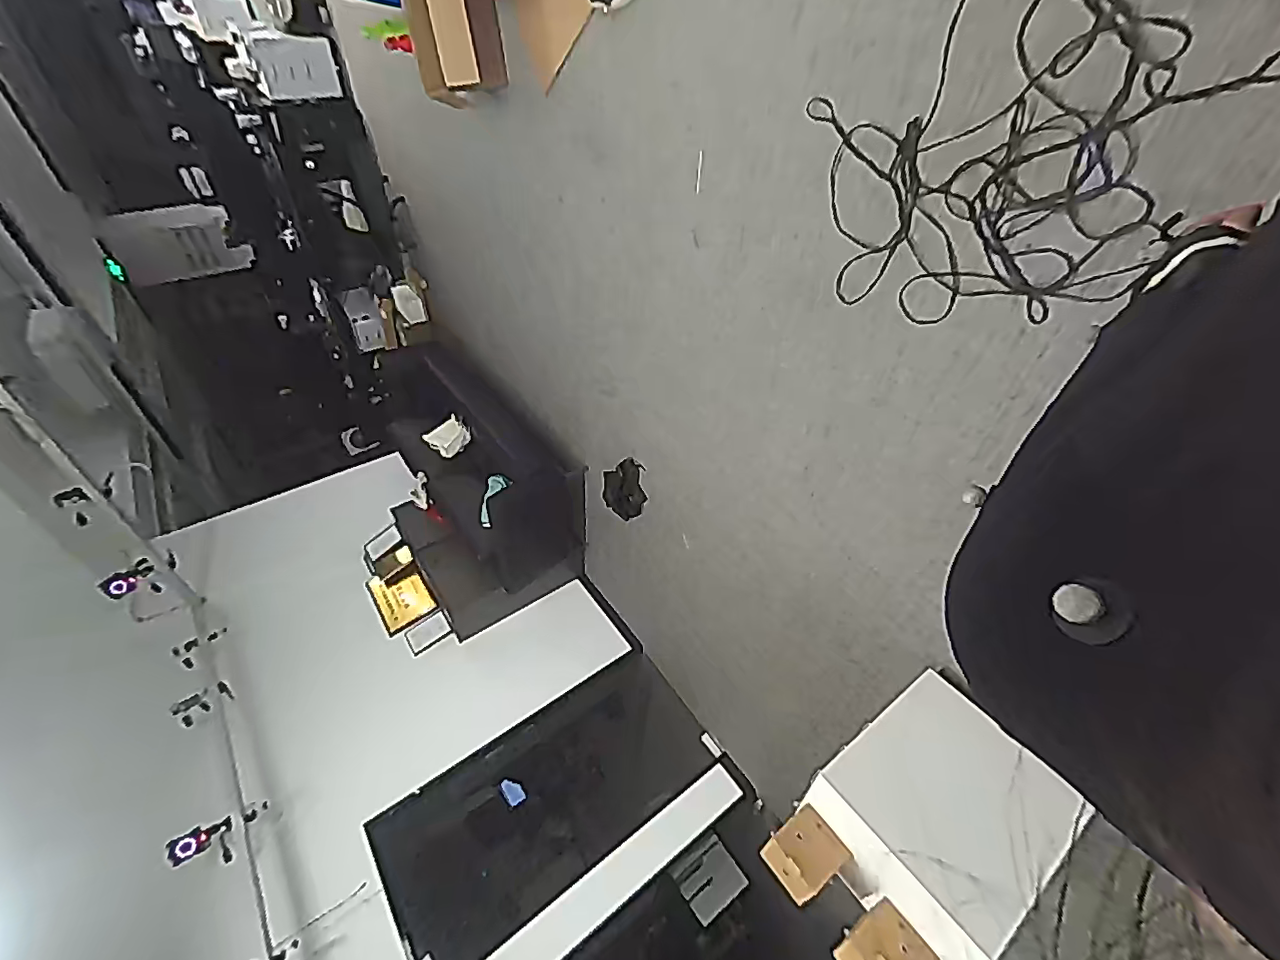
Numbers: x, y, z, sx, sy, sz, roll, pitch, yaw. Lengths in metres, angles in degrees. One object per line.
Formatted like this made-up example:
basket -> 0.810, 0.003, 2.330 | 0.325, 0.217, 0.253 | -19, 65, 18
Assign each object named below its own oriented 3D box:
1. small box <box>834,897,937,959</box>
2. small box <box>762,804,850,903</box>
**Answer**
small box -> 0.663, 1.283, 1.462 | 0.168, 0.176, 0.179 | 43, 145, 38
small box -> 0.496, 1.112, 1.617 | 0.168, 0.176, 0.179 | 45, 148, 35
